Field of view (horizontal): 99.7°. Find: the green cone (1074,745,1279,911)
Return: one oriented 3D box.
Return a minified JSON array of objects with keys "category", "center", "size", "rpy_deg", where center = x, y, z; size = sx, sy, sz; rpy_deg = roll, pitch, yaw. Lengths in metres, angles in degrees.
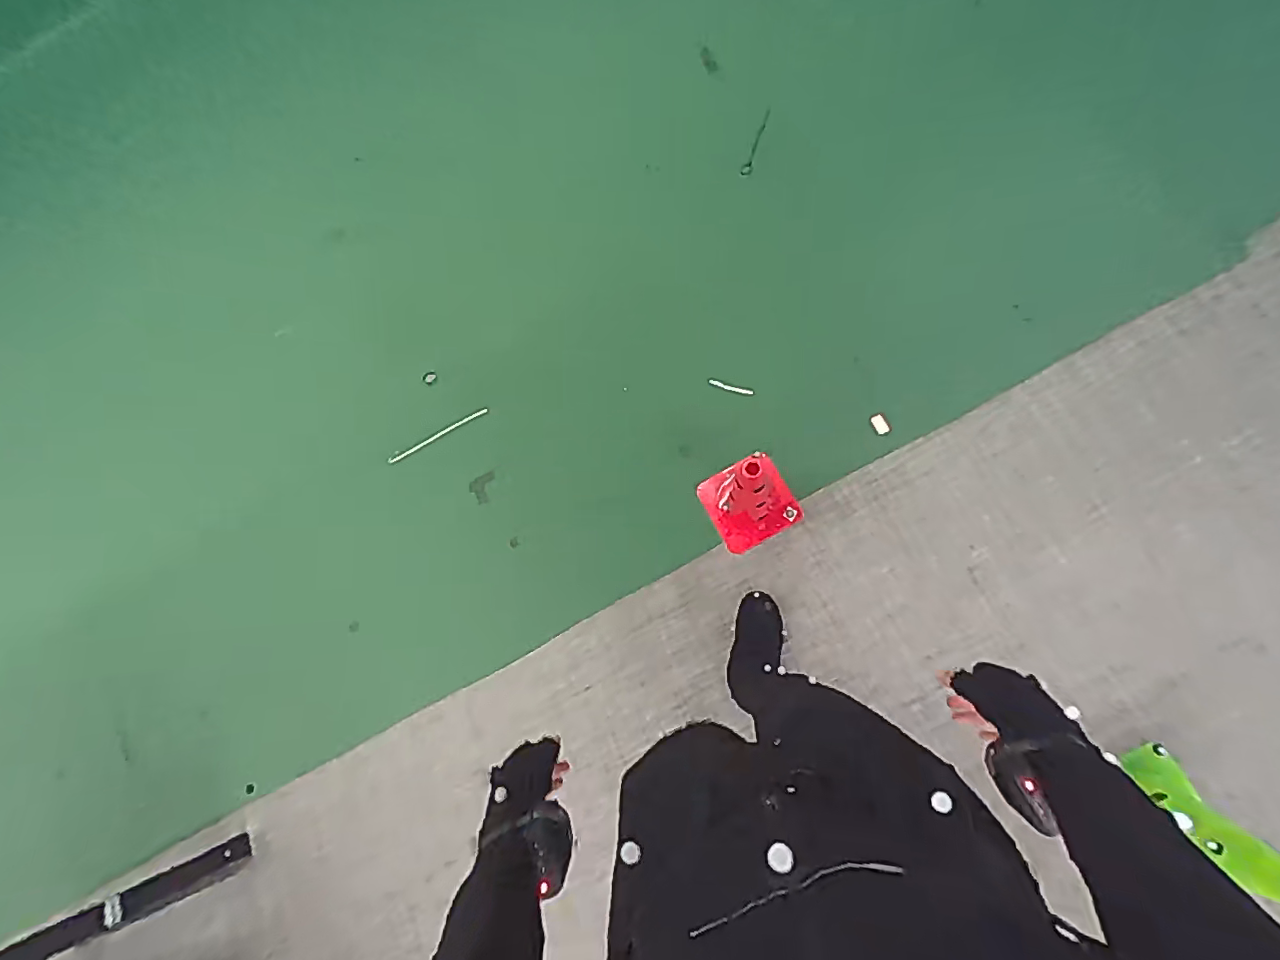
[{"category":"green cone","center":[0.962,0.618,0.891],"size":[0.200,0.368,0.202],"rpy_deg":[-31,75,3]}]
